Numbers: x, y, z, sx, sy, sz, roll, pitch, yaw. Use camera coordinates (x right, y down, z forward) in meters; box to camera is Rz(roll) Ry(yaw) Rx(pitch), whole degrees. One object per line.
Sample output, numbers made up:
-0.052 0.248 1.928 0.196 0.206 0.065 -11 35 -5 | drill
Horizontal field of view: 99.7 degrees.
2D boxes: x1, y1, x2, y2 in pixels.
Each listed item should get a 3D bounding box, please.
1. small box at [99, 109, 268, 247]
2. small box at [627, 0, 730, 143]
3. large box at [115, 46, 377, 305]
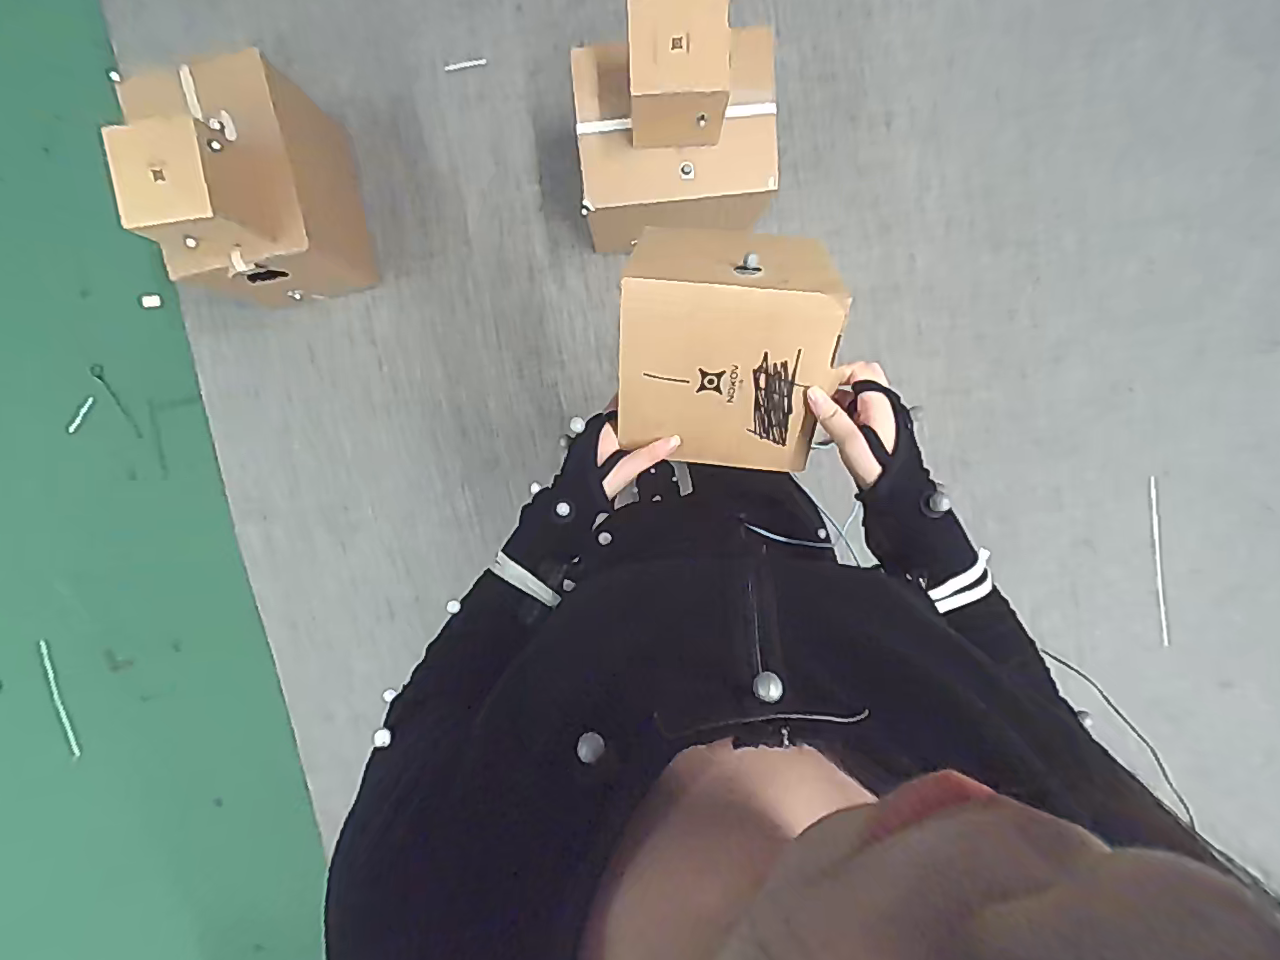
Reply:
-0.849 -0.557 1.025 0.168 0.176 0.179 -8 95 0 | small box
0.066 -0.750 0.997 0.179 0.176 0.168 -1 94 1 | small box
-0.877 -0.668 1.260 0.320 0.320 0.408 -11 96 2 | large box
